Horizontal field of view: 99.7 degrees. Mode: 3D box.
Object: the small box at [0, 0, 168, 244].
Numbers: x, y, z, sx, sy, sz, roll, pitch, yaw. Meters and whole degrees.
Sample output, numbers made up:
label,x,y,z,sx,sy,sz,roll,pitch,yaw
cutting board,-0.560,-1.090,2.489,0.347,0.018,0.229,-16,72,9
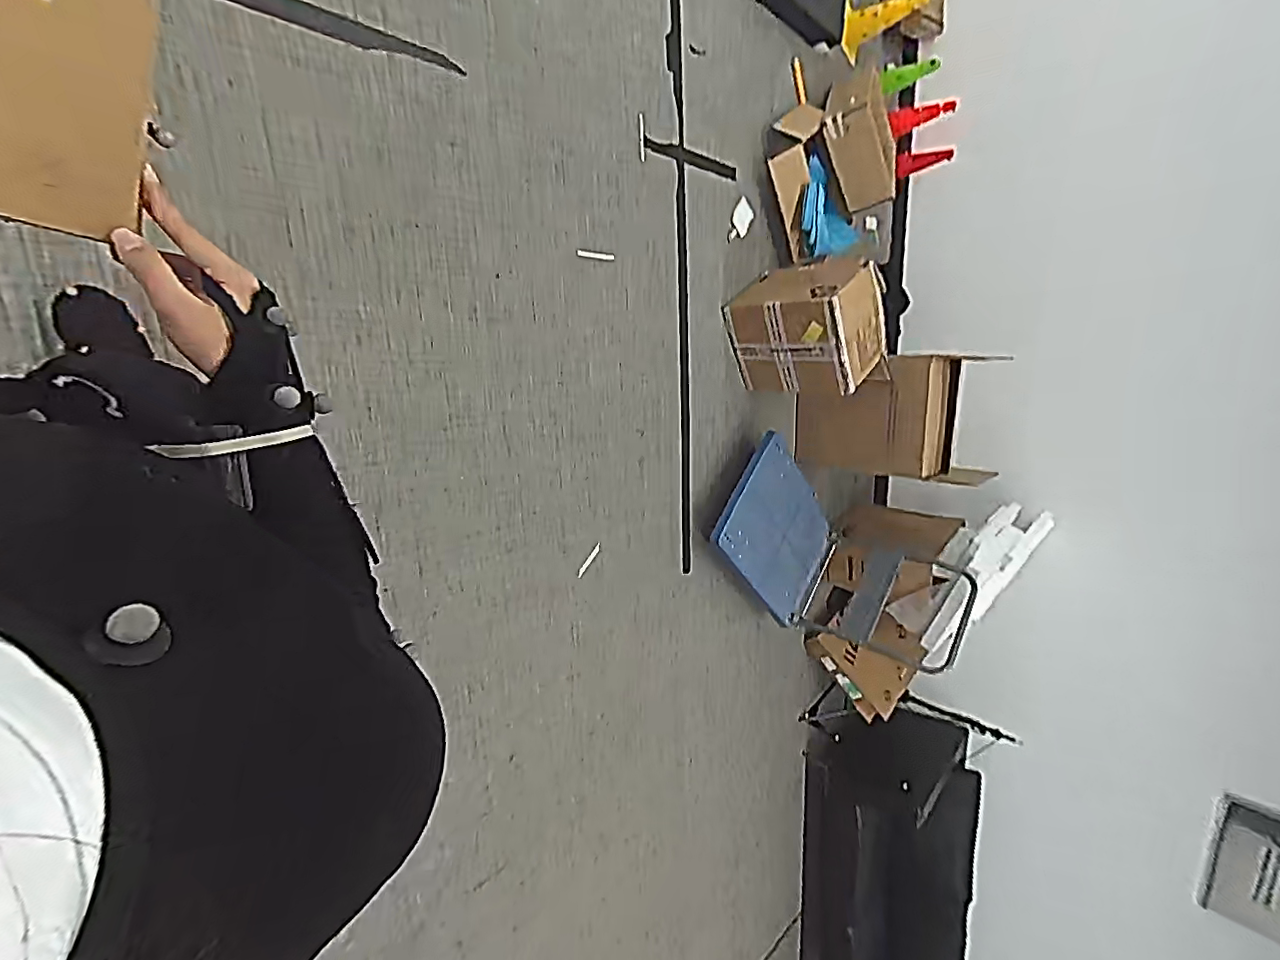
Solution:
label,x,y,z,sx,sy,sz,roll,pitch,yaw
small box,-0.396,-0.256,0.320,0.168,0.176,0.179,4,105,-43
